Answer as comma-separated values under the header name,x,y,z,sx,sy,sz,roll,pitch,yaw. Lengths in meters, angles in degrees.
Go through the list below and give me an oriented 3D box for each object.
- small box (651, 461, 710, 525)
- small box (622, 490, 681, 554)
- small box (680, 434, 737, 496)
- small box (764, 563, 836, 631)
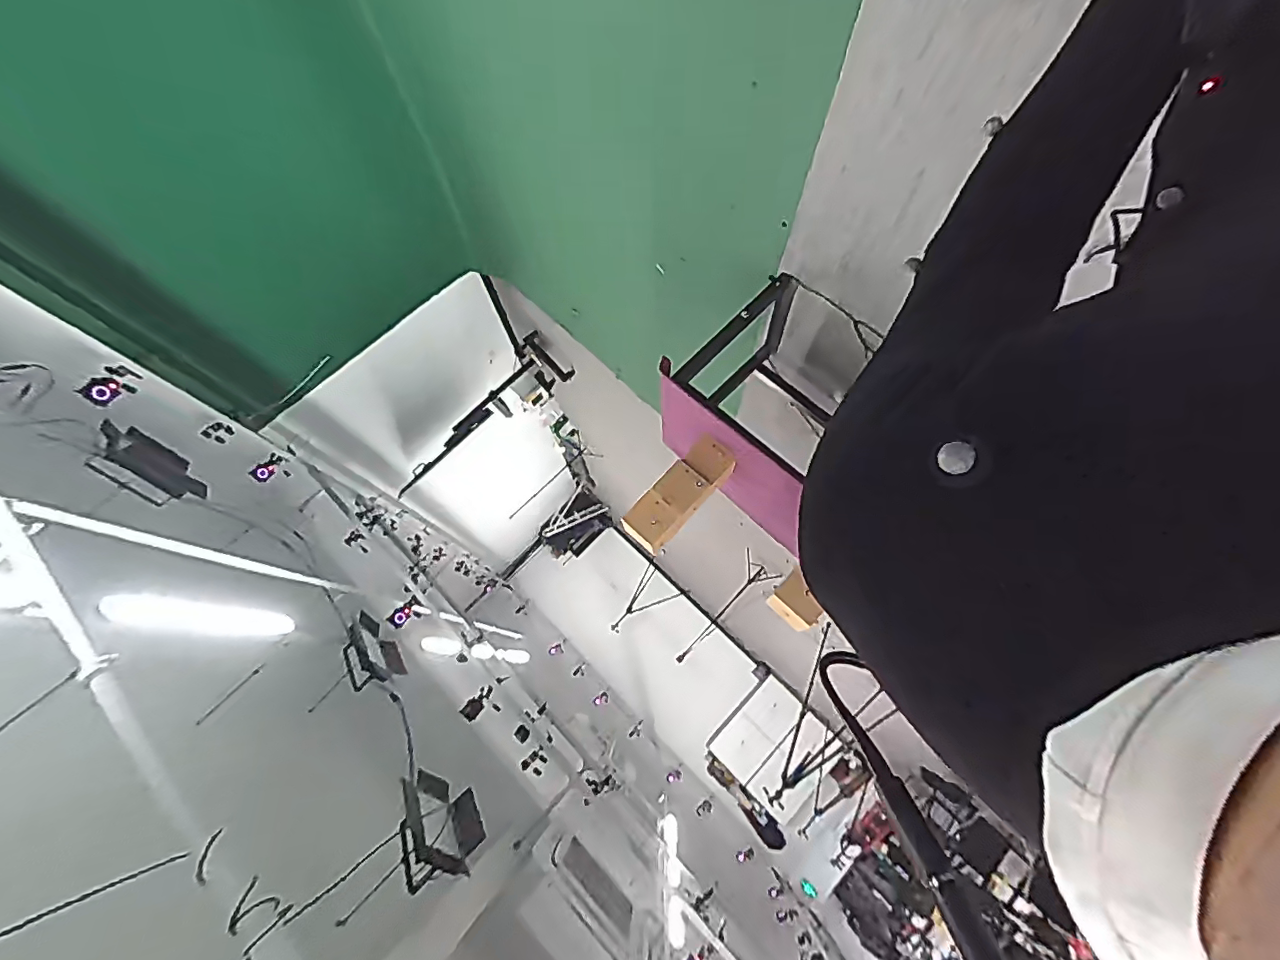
name,x,y,z,sx,sy,sz,roll,pitch,yaw
small box,0.162,0.049,2.160,0.168,0.176,0.179,41,169,15
small box,0.050,0.164,2.137,0.168,0.176,0.179,41,168,17
small box,0.276,-0.058,2.213,0.168,0.176,0.179,42,167,13
small box,0.581,0.422,1.963,0.168,0.176,0.179,43,166,16
